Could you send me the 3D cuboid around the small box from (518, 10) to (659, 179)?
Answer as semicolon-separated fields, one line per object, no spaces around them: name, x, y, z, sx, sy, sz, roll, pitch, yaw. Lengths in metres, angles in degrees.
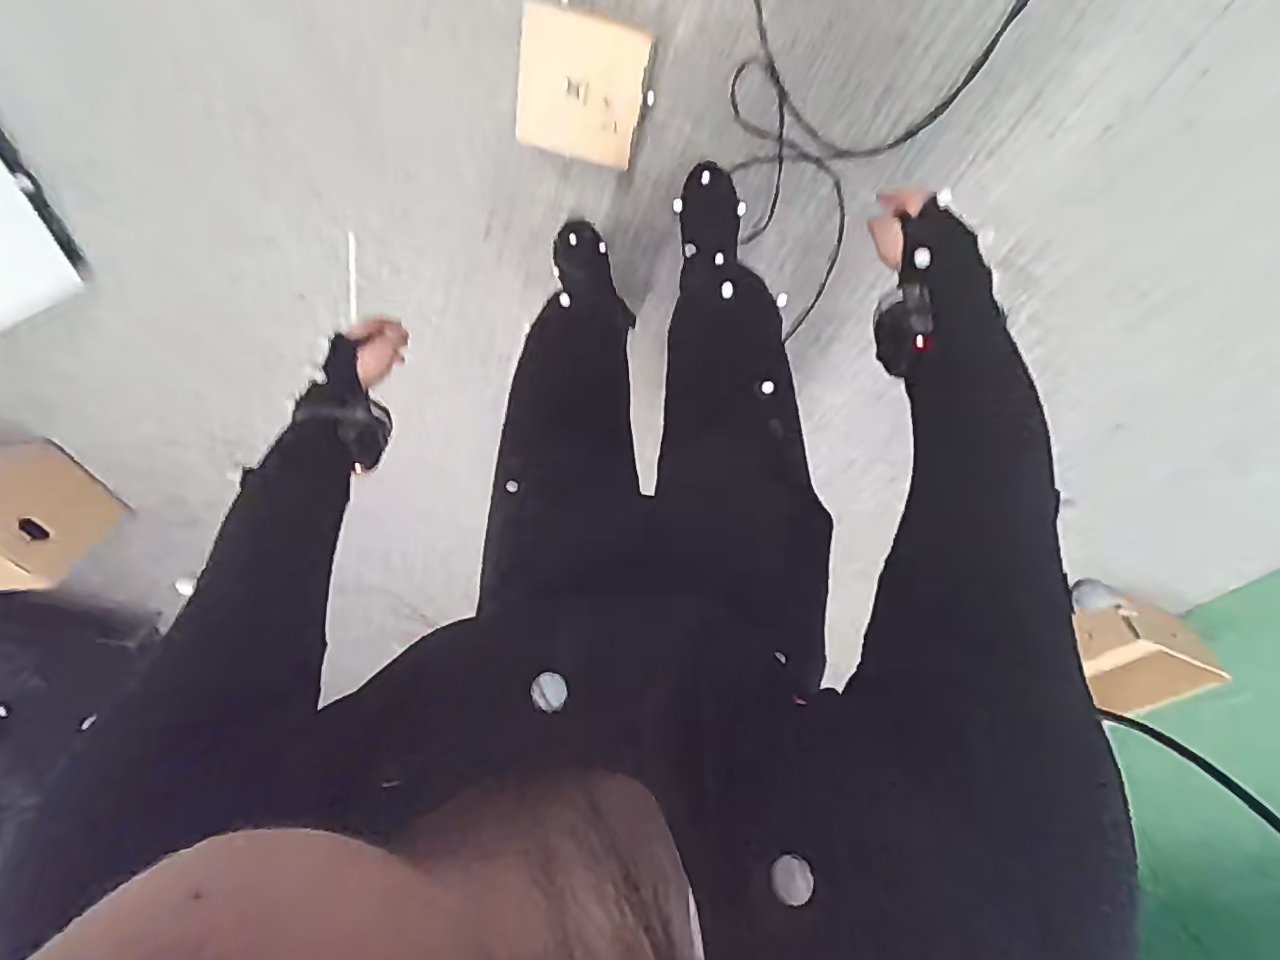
small box;-0.076;-0.594;0.831;0.179;0.176;0.168;13;133;-5
